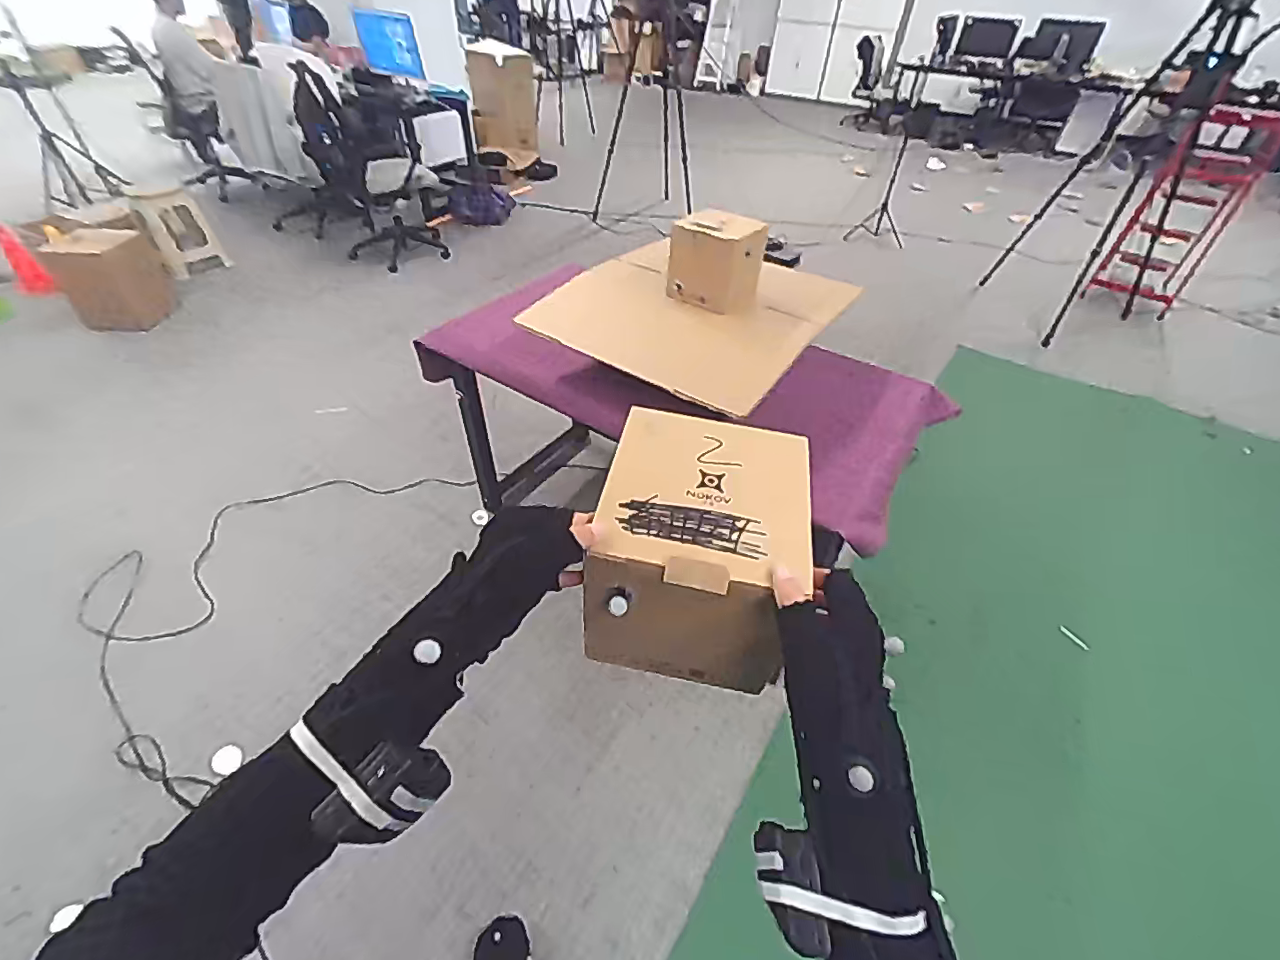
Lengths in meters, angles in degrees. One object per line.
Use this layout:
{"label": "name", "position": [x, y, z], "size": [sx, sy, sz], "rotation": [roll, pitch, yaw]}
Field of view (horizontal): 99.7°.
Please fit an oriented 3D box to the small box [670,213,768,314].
{"label": "small box", "position": [0.183, -0.517, 1.290], "size": [0.168, 0.176, 0.179], "rotation": [27, 46, 24]}
